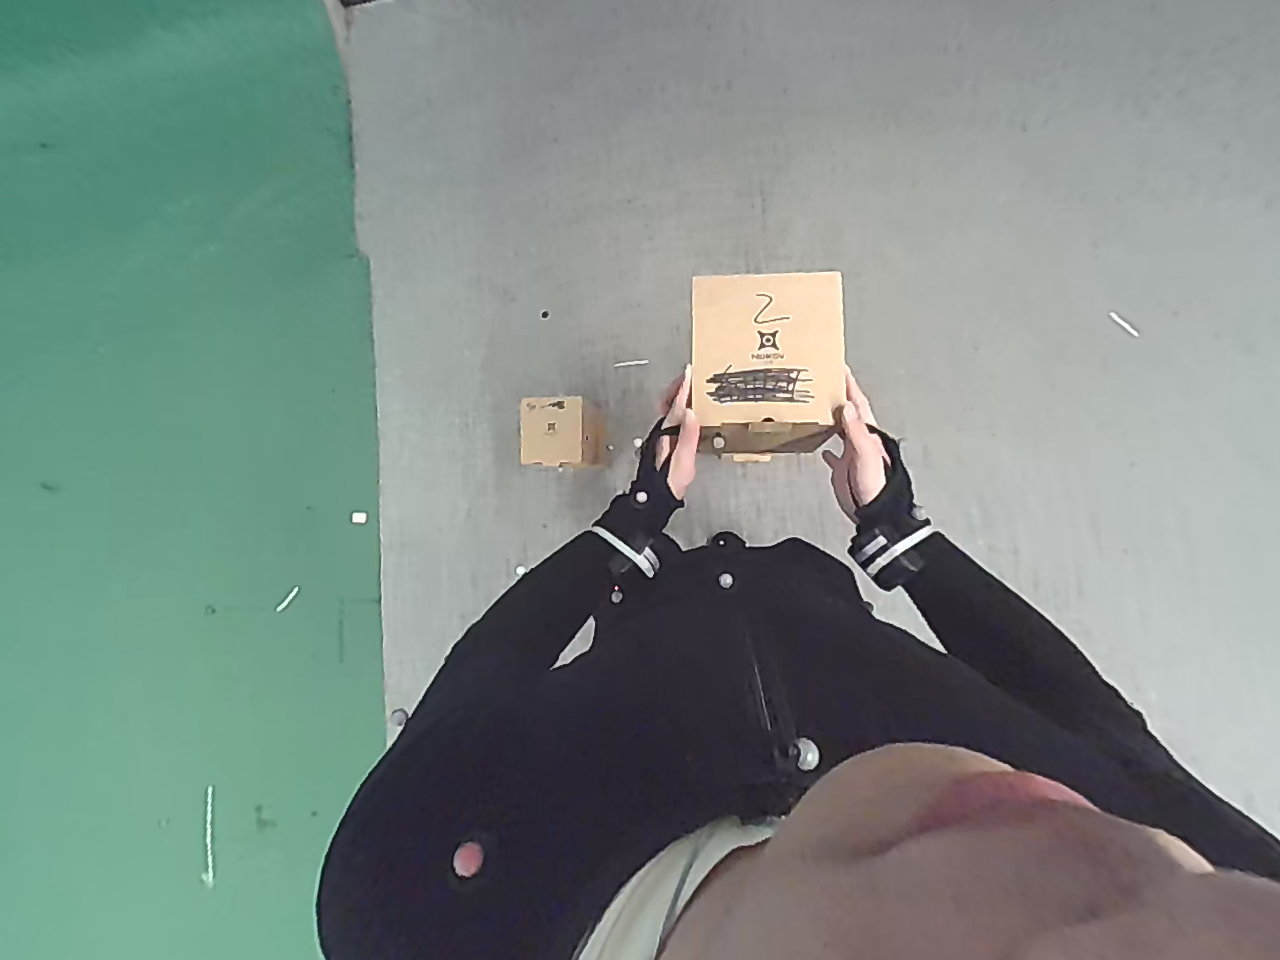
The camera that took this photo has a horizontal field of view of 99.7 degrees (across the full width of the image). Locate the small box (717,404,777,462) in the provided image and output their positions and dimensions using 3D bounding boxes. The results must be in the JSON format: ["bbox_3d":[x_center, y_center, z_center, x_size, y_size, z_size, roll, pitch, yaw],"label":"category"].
[{"bbox_3d":[0.315,-0.152,1.559,0.168,0.176,0.179,7,89,10],"label":"small box"}]

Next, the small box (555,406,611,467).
[{"bbox_3d":[-0.191,-0.127,1.628,0.179,0.176,0.168,1,87,7],"label":"small box"}]

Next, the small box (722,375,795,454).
[{"bbox_3d":[0.301,-0.164,1.400,0.168,0.176,0.179,2,87,7],"label":"small box"}]

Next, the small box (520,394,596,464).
[{"bbox_3d":[-0.218,-0.133,1.466,0.168,0.176,0.179,1,88,7],"label":"small box"}]
